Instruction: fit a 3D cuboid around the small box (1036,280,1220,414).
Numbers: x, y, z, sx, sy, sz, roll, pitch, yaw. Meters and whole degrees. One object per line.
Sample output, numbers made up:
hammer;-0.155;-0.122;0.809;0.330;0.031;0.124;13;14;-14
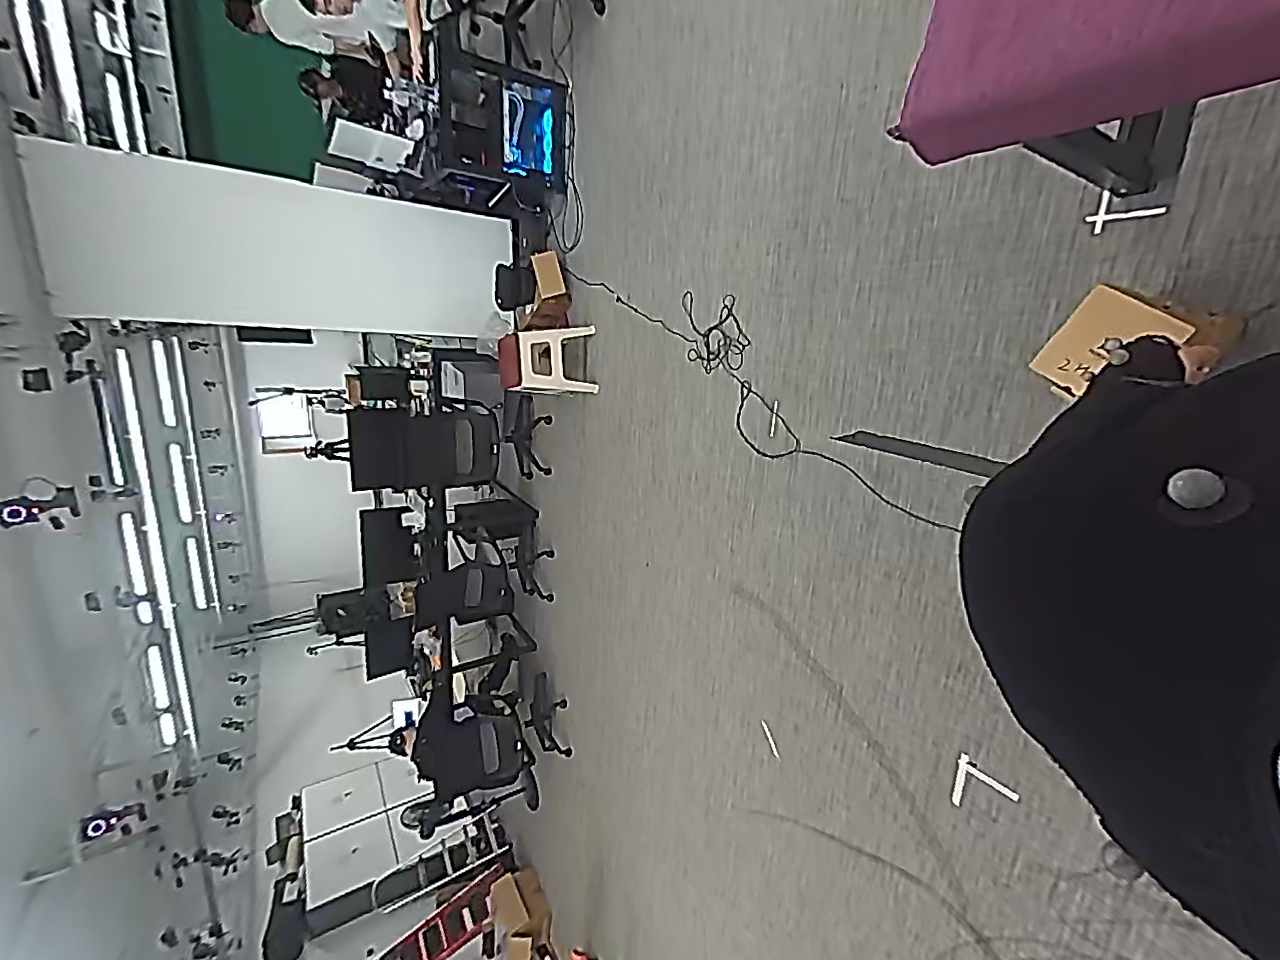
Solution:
small box;0.891;-0.242;0.988;0.168;0.176;0.179;56;140;36
